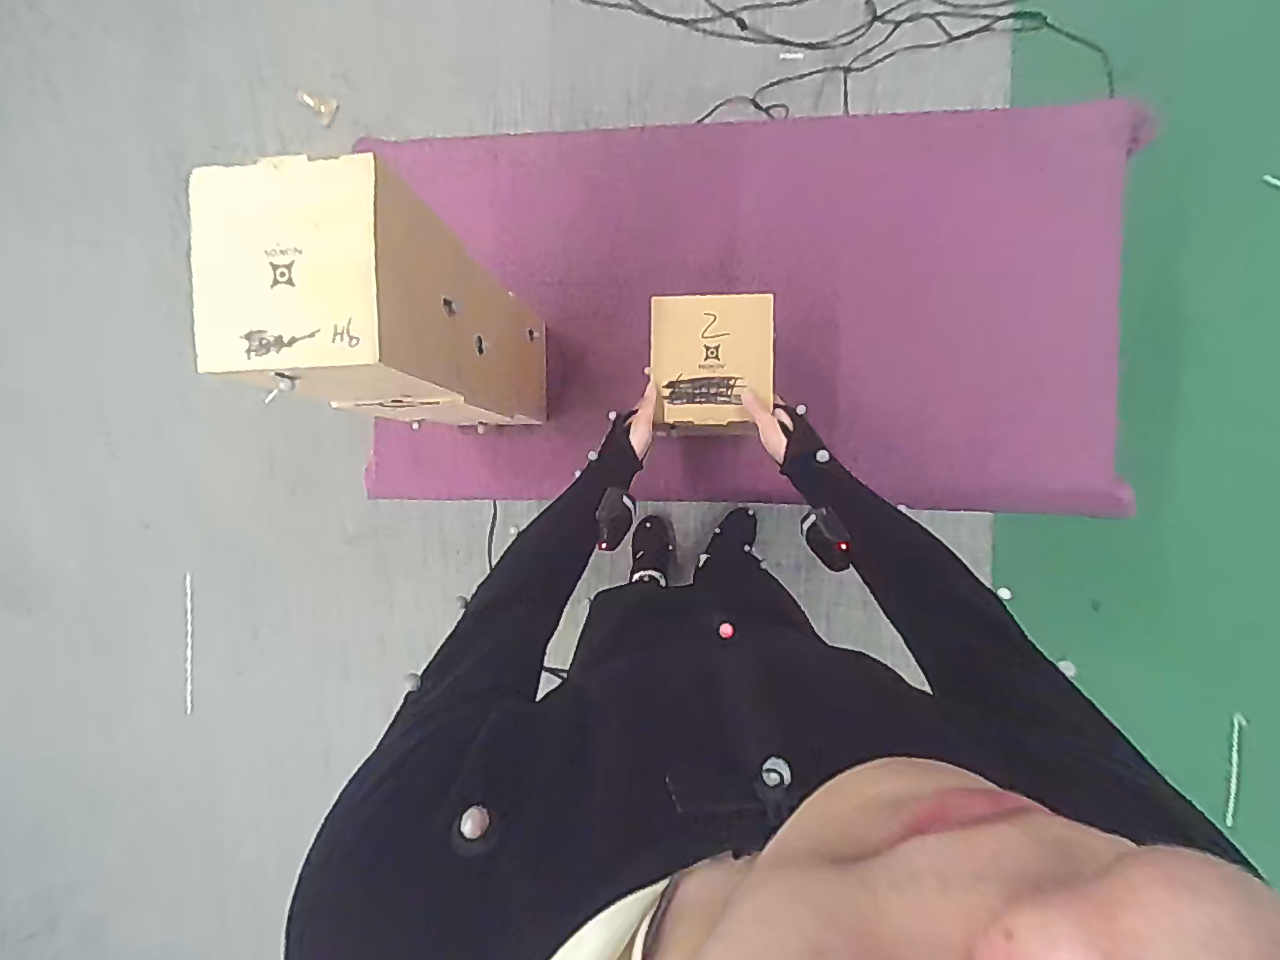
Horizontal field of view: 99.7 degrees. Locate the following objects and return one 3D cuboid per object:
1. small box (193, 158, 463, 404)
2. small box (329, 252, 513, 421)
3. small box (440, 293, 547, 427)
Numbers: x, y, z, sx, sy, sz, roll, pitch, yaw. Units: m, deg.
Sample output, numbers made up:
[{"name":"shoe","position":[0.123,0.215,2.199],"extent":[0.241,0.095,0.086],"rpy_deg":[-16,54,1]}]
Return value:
[{"name":"small box","position":[-0.285,-0.176,0.528],"extent":[0.168,0.176,0.179],"rpy_deg":[-1,89,6]},{"name":"small box","position":[-0.268,-0.169,0.691],"extent":[0.168,0.176,0.179],"rpy_deg":[0,89,7]},{"name":"small box","position":[-0.249,-0.179,0.853],"extent":[0.168,0.176,0.179],"rpy_deg":[-1,91,7]}]
